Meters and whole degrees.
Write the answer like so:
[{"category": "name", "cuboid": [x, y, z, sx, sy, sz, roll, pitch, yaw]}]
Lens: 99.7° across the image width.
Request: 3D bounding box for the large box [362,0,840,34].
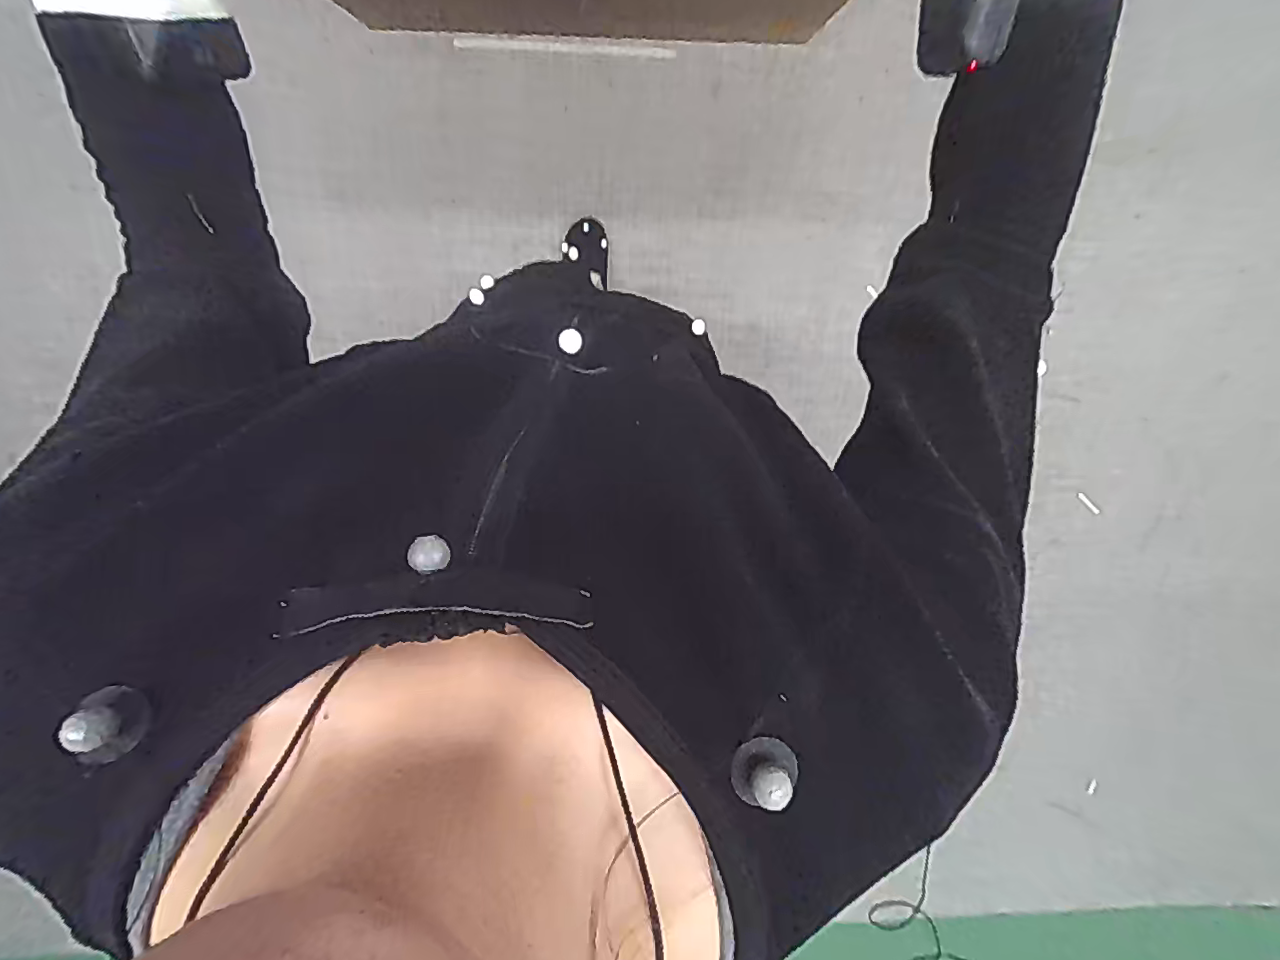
[{"category": "large box", "cuboid": [-0.032, -0.487, 0.307, 0.408, 0.320, 0.320, 2, 117, -1]}]
